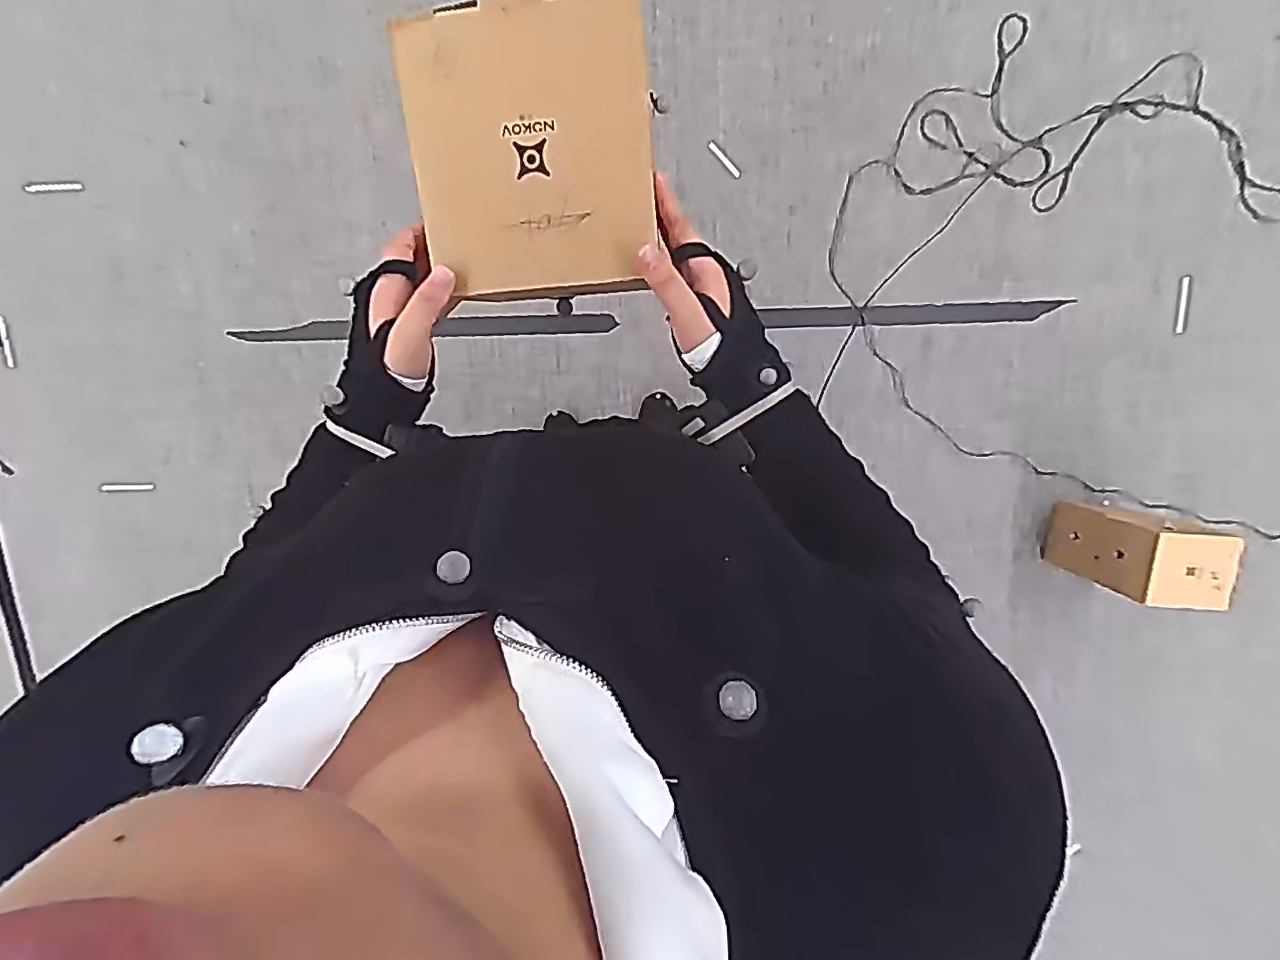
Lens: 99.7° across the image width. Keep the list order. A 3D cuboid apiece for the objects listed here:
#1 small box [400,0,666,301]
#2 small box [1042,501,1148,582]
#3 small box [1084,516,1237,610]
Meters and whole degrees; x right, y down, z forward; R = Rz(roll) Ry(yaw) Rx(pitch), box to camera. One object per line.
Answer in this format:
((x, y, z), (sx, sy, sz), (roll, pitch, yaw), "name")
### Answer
((-0.066, -0.246, 0.443), (0.168, 0.176, 0.179), (-3, 107, 4), "small box")
((1.188, 0.162, 1.397), (0.168, 0.176, 0.179), (6, 99, 0), "small box")
((1.173, 0.182, 1.234), (0.179, 0.176, 0.168), (3, 101, 1), "small box")
